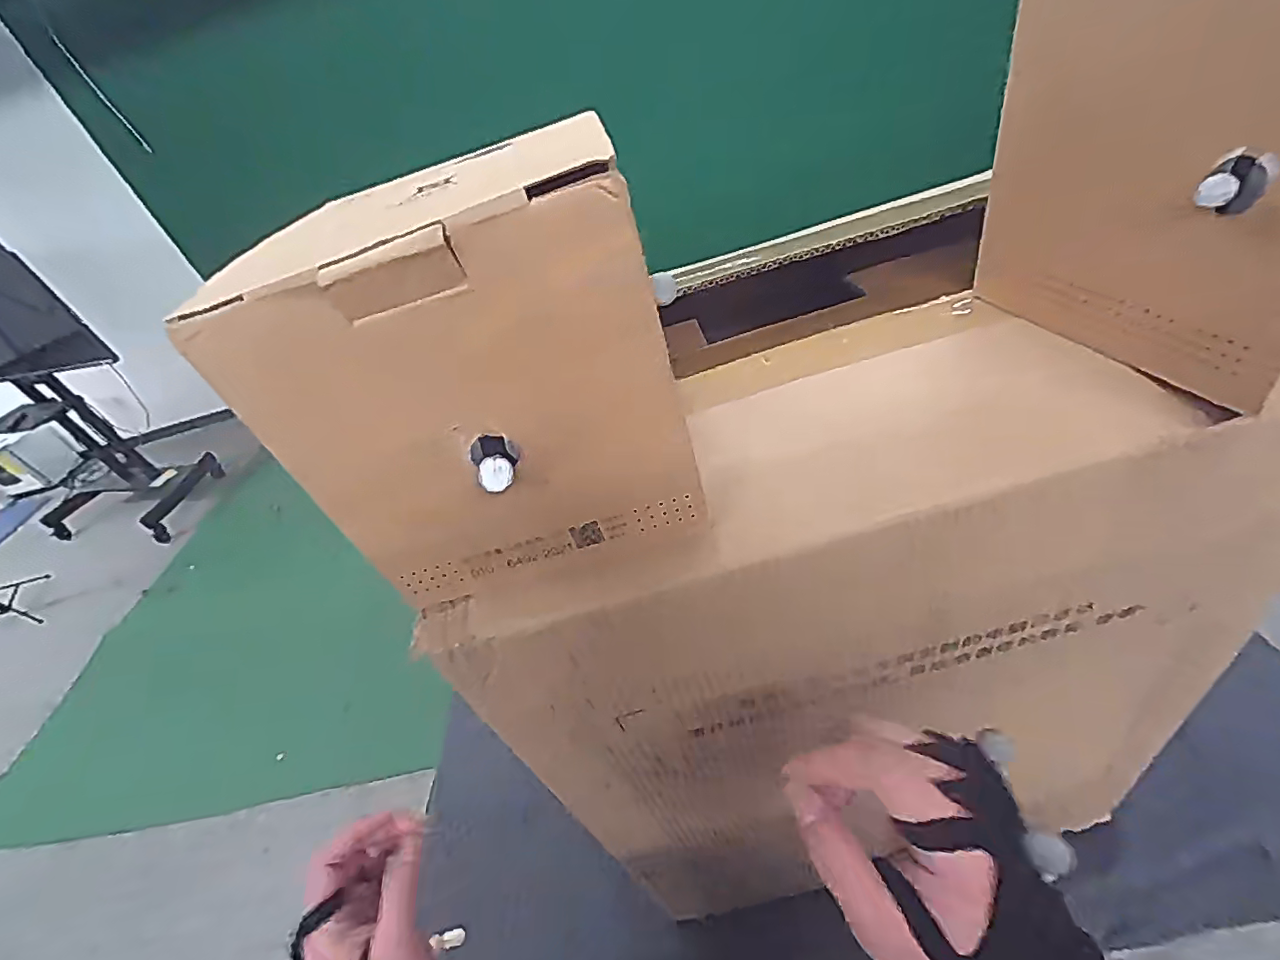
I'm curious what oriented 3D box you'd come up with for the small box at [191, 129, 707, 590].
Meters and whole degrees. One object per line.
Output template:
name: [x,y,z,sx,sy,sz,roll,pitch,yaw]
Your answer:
small box: [-0.069,-0.060,0.297,0.168,0.176,0.179,-16,39,4]
